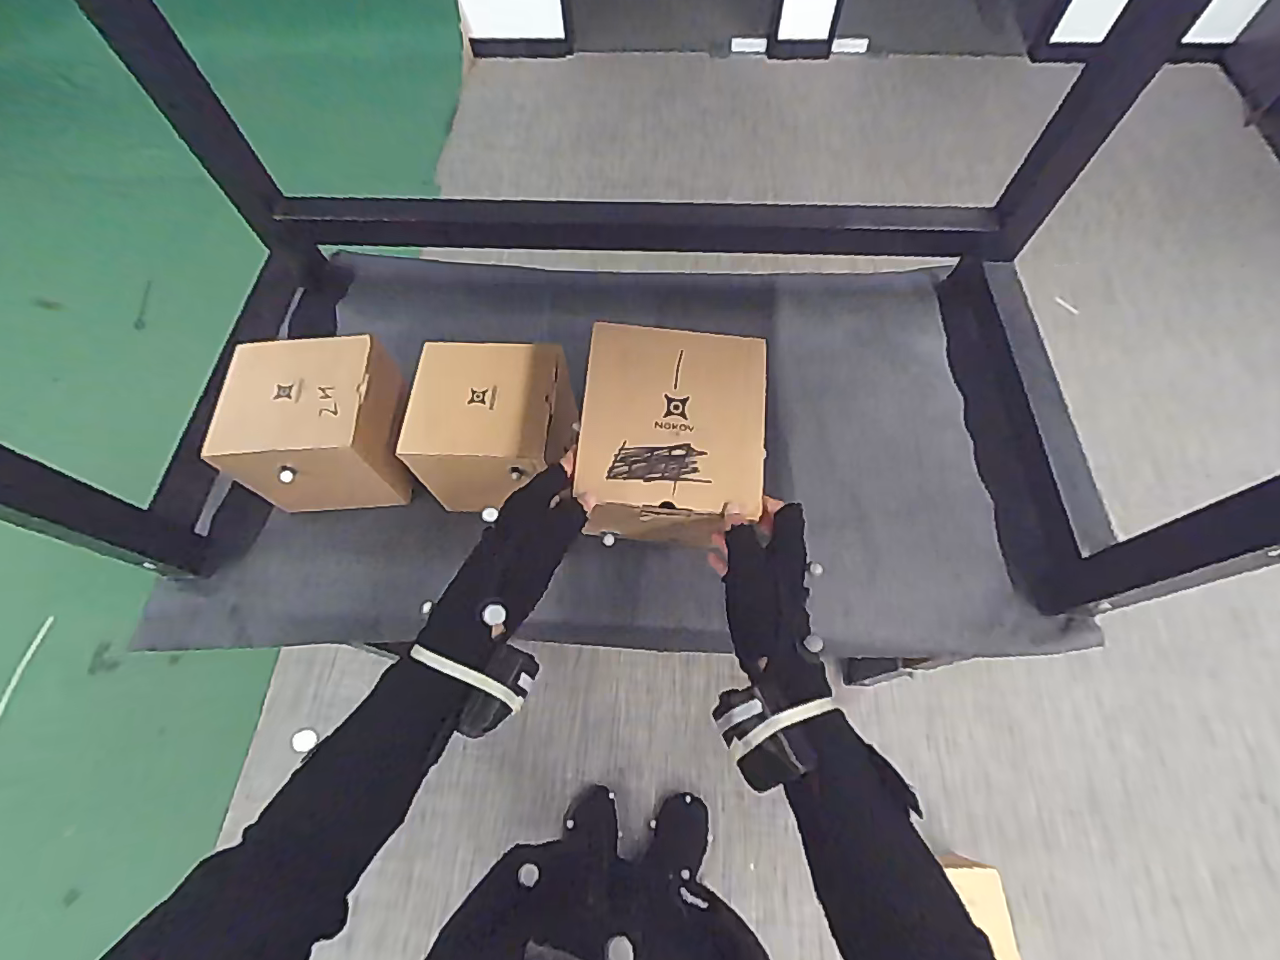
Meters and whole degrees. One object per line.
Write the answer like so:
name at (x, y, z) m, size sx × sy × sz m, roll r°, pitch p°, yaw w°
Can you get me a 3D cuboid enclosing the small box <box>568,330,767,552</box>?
small box at (0.026, -0.027, 0.558) m, size 0.168 × 0.176 × 0.179 m, roll 6°, pitch 73°, yaw -1°
